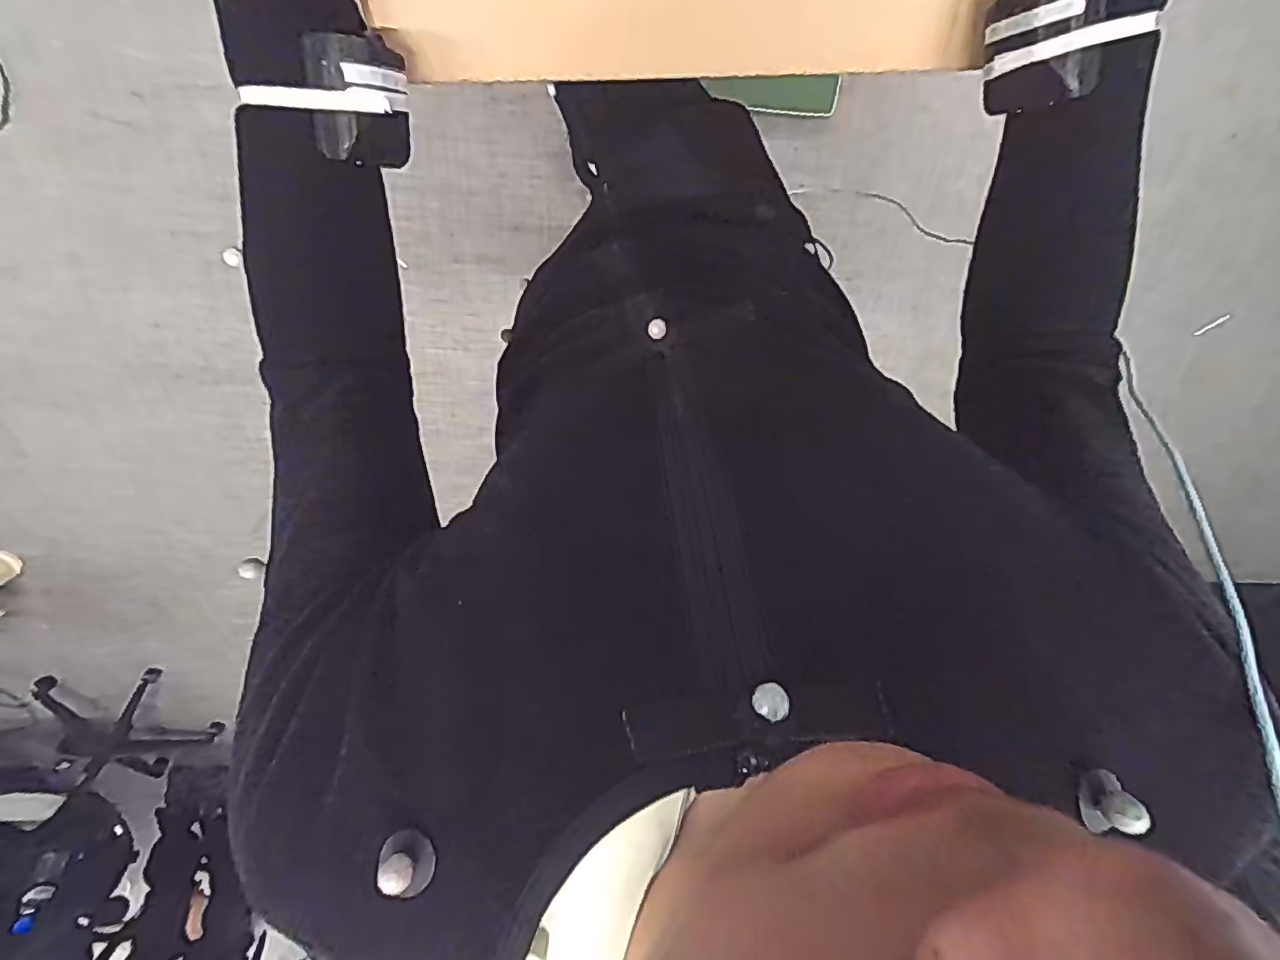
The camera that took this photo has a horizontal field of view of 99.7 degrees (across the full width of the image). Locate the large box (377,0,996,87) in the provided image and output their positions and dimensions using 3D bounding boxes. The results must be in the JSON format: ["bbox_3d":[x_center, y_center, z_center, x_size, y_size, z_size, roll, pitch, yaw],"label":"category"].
[{"bbox_3d":[0.021,-0.492,0.363,0.408,0.320,0.320,-3,137,-2],"label":"large box"}]
